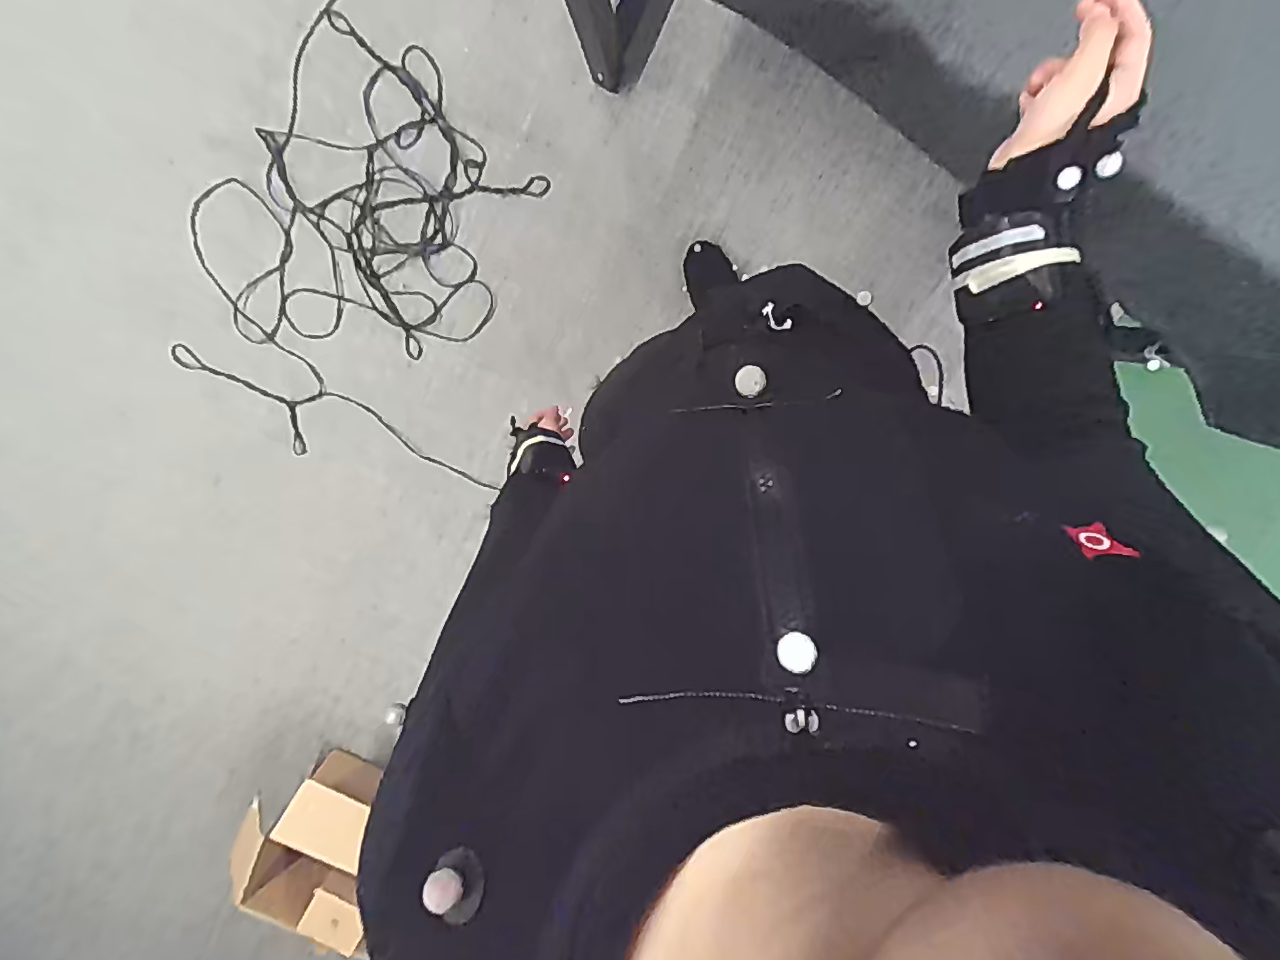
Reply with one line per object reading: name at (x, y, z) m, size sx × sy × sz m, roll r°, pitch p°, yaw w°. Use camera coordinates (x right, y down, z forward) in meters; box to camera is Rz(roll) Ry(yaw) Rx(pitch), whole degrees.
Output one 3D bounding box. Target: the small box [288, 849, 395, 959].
small box at (-0.807, 1.171, 1.480) m, size 0.168 × 0.176 × 0.179 m, roll 31°, pitch 103°, yaw -4°
